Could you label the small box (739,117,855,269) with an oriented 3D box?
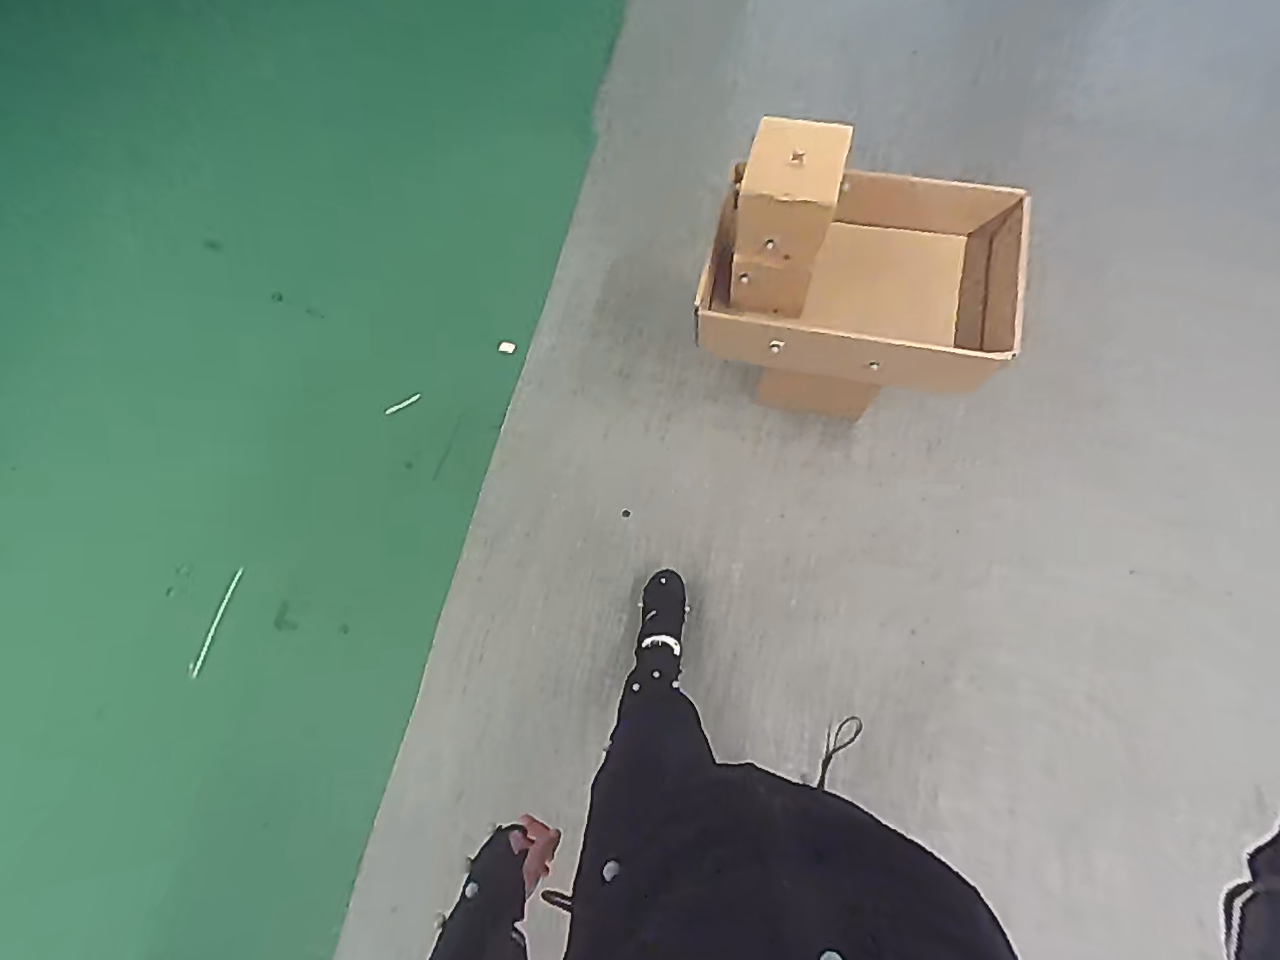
[{"bbox_3d":[0.287,-0.535,1.020,0.168,0.176,0.179,14,74,10],"label":"small box"}]
